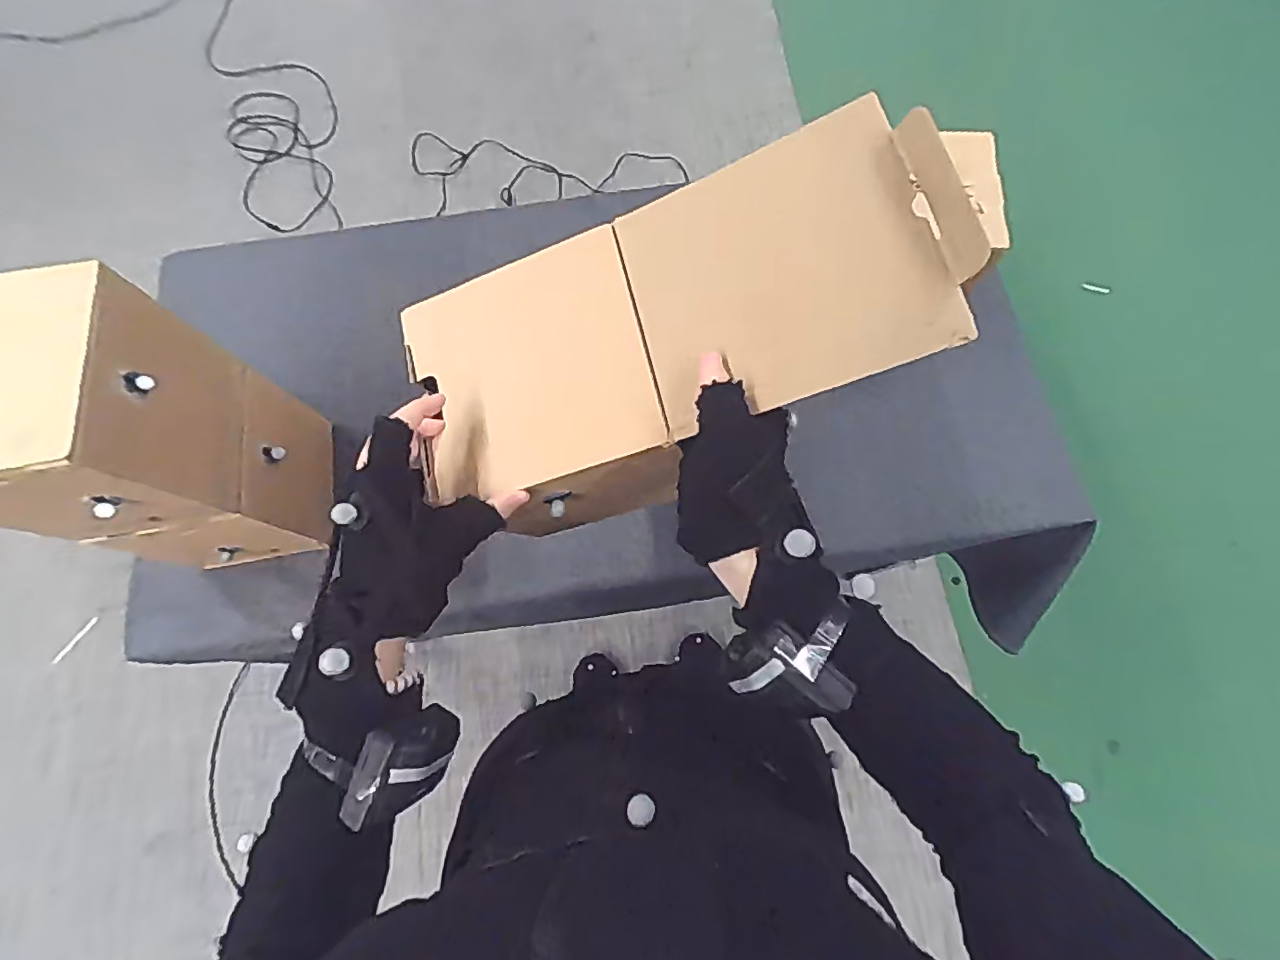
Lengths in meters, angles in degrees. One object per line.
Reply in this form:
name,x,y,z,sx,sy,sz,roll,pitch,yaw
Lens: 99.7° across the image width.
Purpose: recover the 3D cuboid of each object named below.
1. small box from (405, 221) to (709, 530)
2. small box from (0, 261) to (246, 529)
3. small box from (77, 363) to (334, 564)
small box,-0.056,-0.062,0.440,0.179,0.176,0.168,-17,76,12
small box,-0.492,-0.059,0.482,0.168,0.176,0.179,-8,73,-2
small box,-0.487,-0.011,0.637,0.168,0.176,0.179,-10,73,-2
